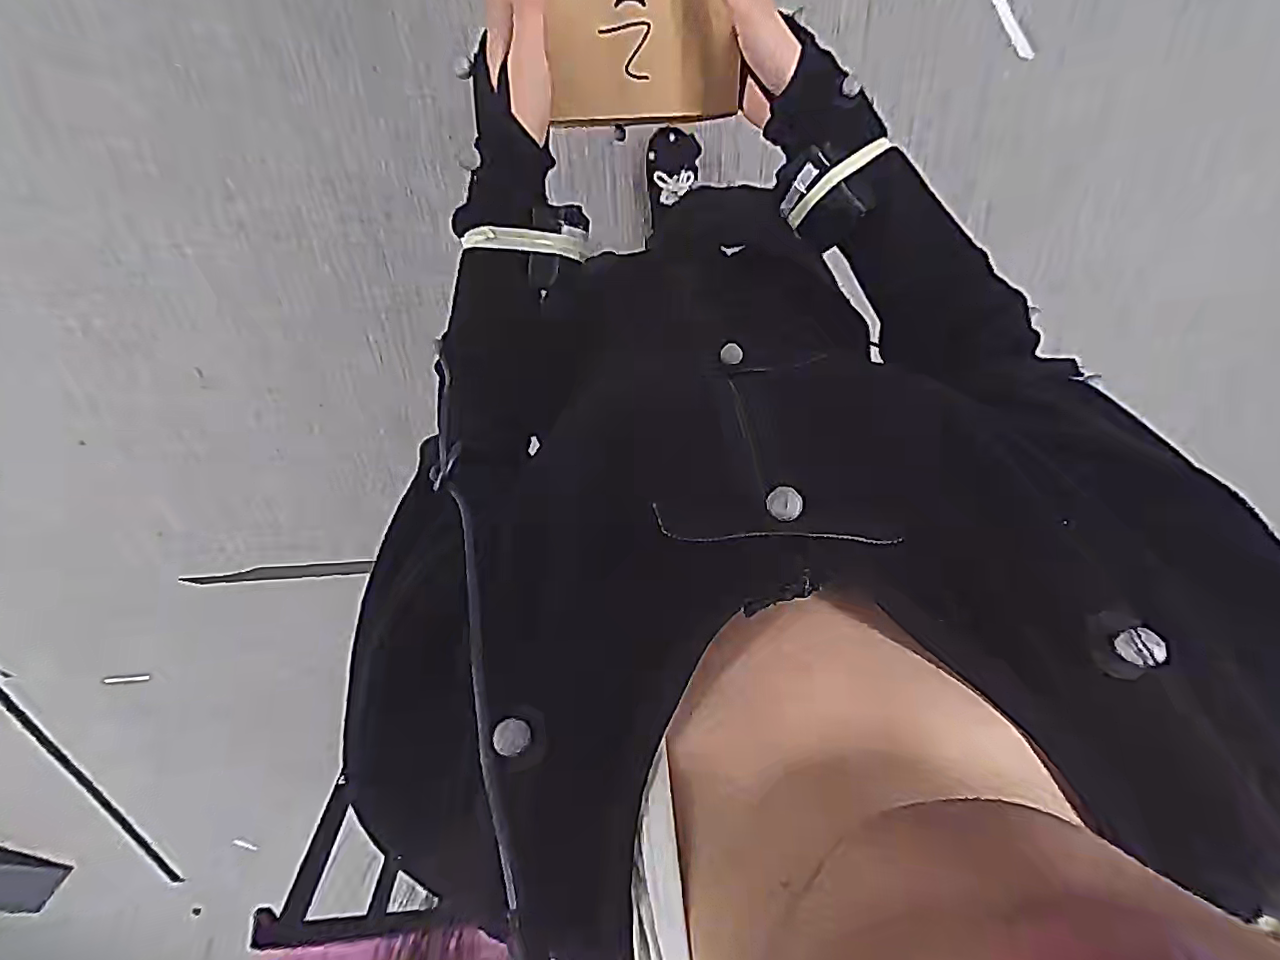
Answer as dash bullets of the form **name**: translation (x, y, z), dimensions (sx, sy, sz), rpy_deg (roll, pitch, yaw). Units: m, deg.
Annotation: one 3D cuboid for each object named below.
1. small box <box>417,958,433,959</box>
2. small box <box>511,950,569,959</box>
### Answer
- **small box**: translation (-0.656, 1.434, 1.461), dimensions (0.179, 0.176, 0.168), rpy_deg (-3, 121, -3)
- **small box**: translation (-0.287, 1.436, 1.489), dimensions (0.168, 0.176, 0.179), rpy_deg (6, 118, -8)
